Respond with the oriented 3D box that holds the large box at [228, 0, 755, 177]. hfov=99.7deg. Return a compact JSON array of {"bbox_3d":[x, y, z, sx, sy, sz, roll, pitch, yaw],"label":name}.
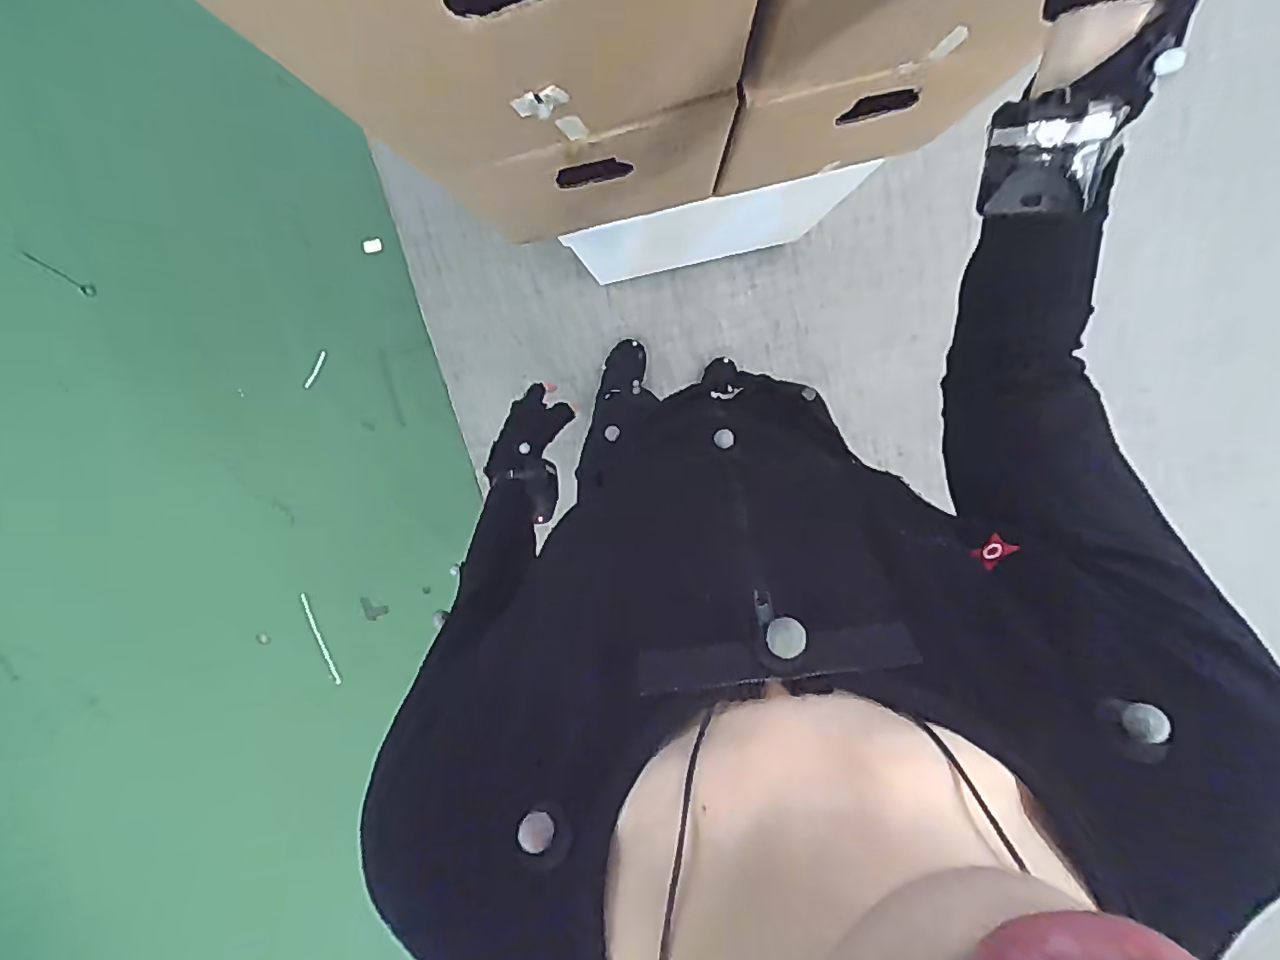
[{"bbox_3d":[-0.114,-0.490,0.338,0.320,0.320,0.408,-14,100,6],"label":"large box"}]
